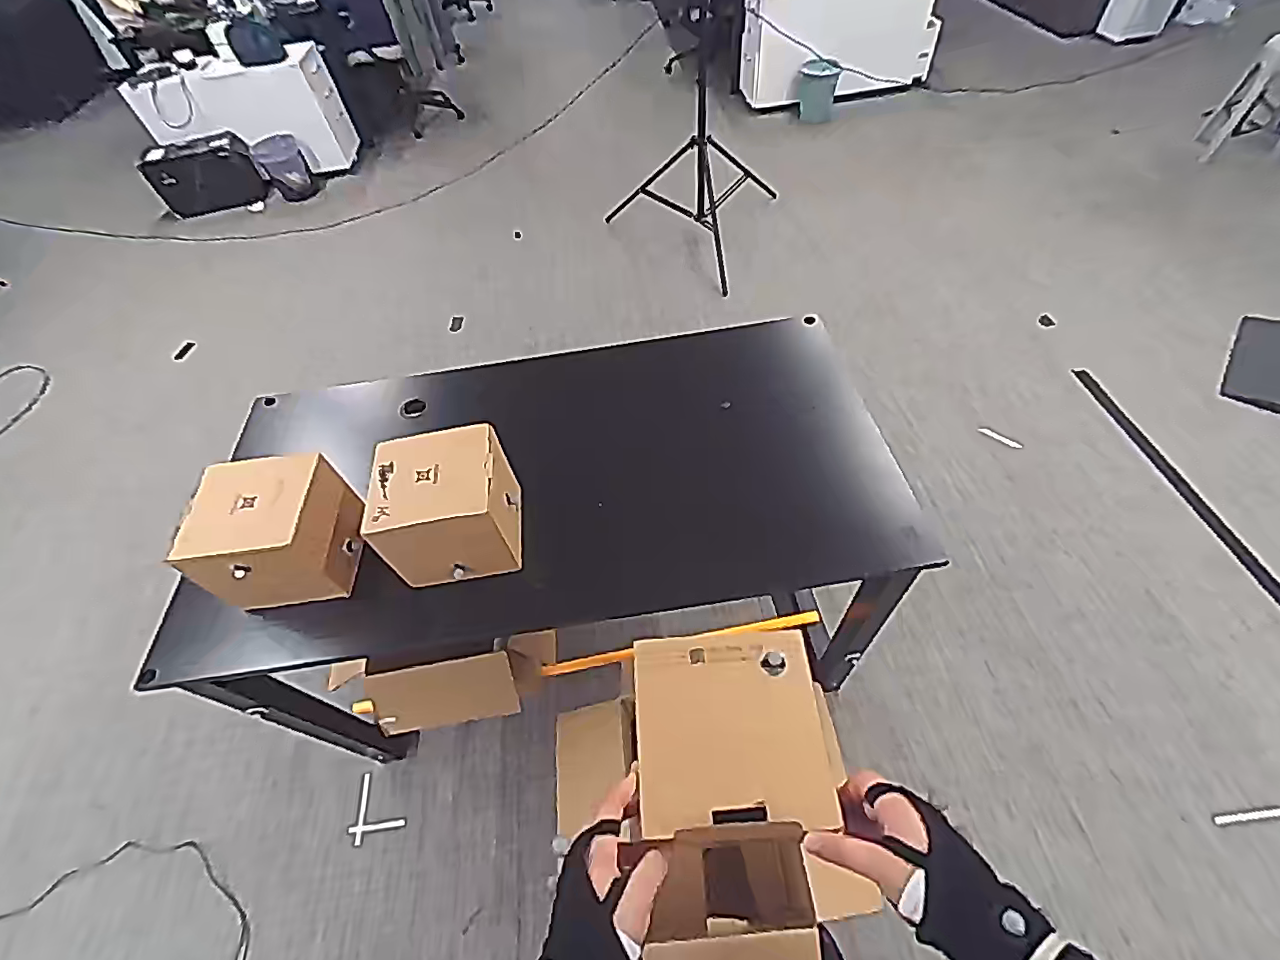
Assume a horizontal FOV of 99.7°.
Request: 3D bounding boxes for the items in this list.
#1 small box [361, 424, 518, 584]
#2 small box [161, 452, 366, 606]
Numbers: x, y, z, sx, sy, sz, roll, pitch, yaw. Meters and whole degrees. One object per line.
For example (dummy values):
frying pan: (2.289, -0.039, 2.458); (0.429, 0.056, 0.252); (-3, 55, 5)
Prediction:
small box: (-0.288, 0.041, 0.825); (0.179, 0.176, 0.168); (-10, 53, -2)
small box: (-0.549, 0.080, 0.824); (0.179, 0.176, 0.168); (-7, 54, 0)
